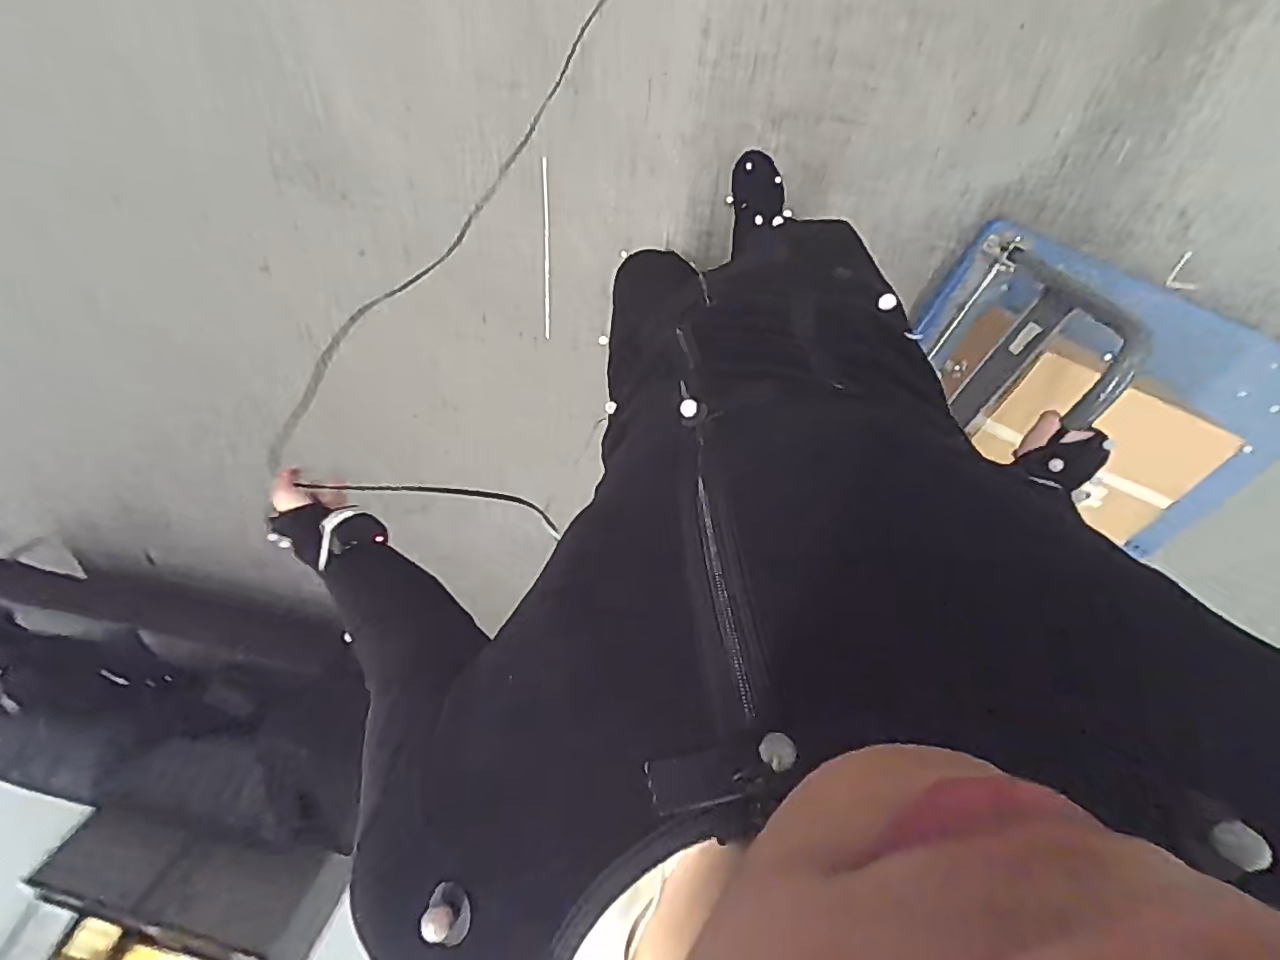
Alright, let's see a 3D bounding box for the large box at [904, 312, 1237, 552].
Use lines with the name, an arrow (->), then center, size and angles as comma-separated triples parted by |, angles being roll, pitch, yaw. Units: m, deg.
large box -> 0.868, -0.115, 1.171 | 0.408, 0.320, 0.320 | 23, 125, -1
